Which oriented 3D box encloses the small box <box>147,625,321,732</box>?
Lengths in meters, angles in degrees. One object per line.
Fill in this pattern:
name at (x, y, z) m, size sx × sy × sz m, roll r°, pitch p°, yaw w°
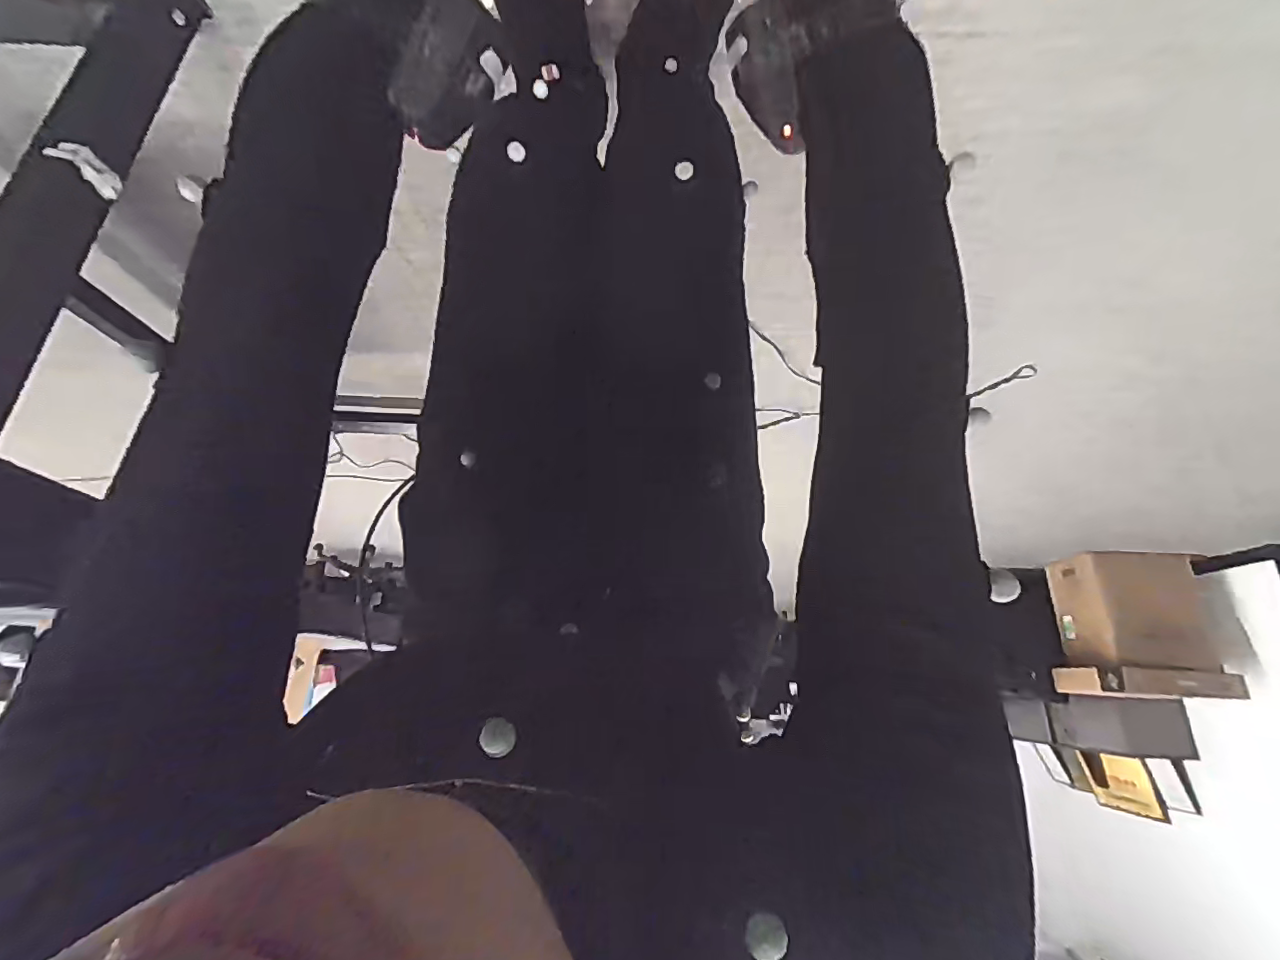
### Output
small box at (-0.732, 0.364, 0.999) m, size 0.179 × 0.176 × 0.168 m, roll 4°, pitch 159°, yaw -1°
